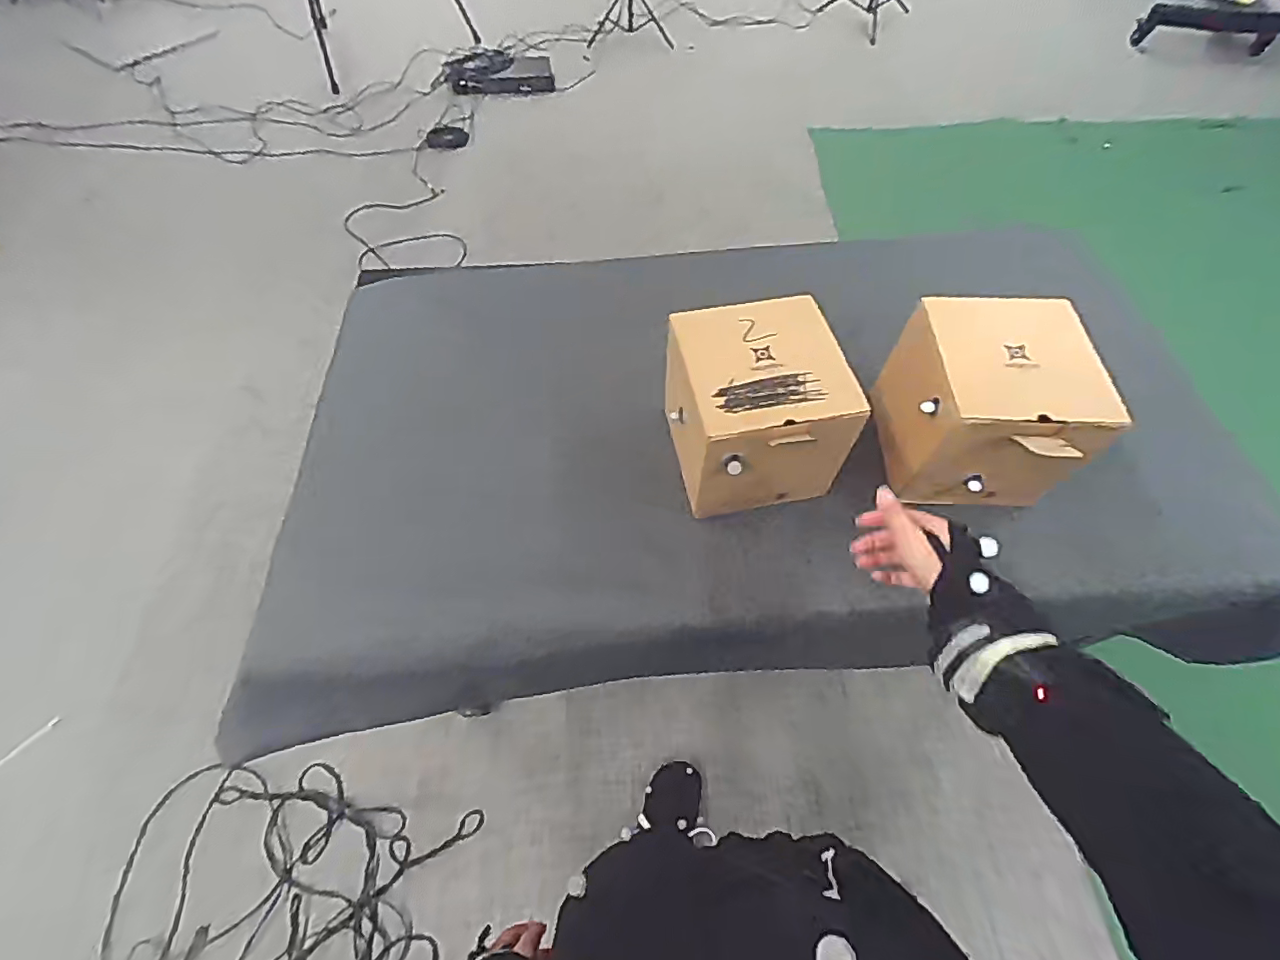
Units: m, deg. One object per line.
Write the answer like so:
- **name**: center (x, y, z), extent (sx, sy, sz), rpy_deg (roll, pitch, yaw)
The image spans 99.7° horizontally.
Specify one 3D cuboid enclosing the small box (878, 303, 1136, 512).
- **small box**: center (0.400, -0.081, 0.633), extent (0.168, 0.176, 0.179), rpy_deg (2, 59, 1)
